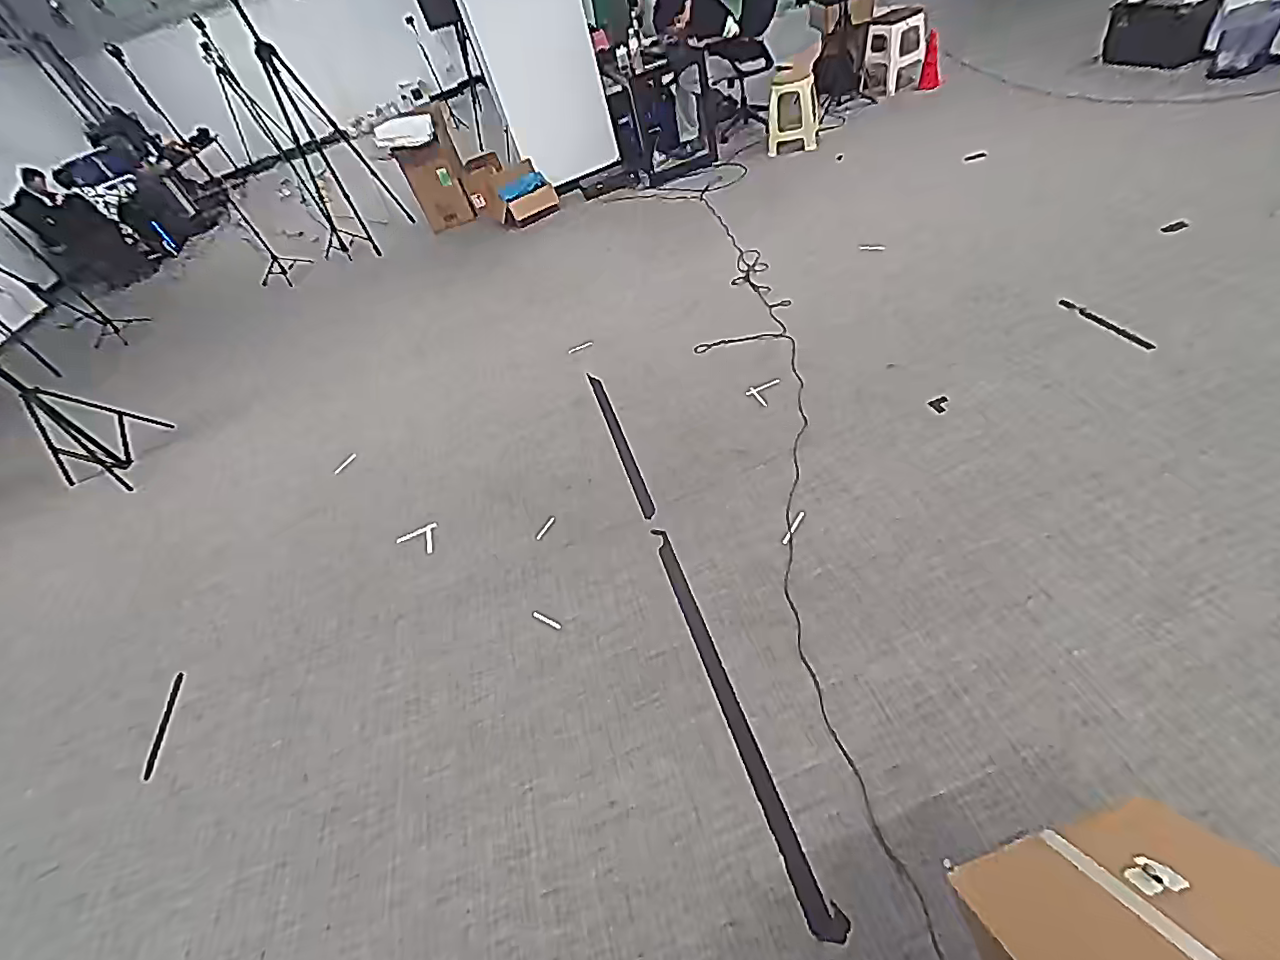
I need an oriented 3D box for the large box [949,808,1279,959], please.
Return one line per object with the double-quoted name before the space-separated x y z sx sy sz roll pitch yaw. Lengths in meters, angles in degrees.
"large box" 0.638 0.646 0.574 0.320 0.408 0.320 -20 83 0
